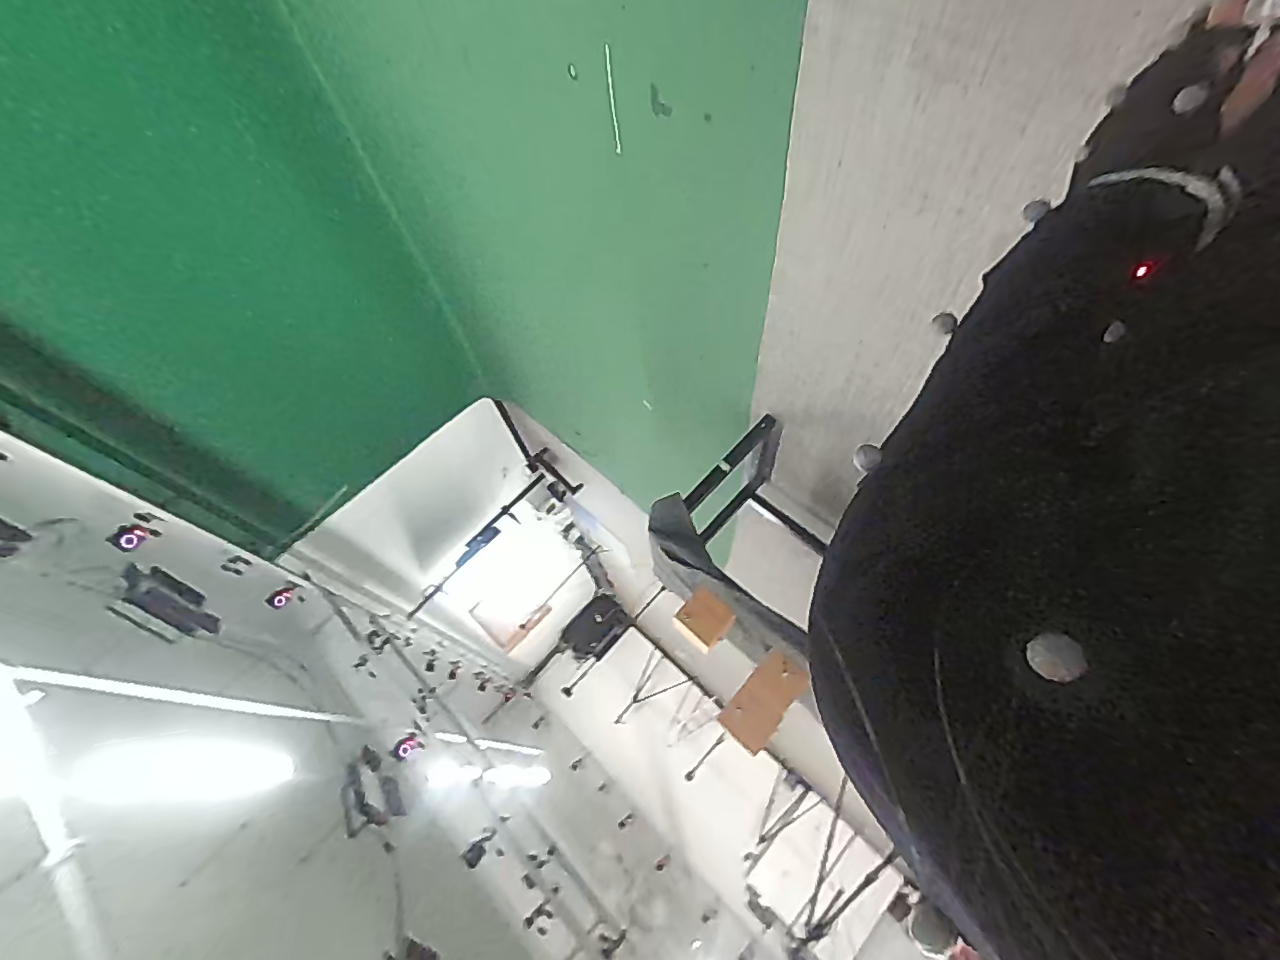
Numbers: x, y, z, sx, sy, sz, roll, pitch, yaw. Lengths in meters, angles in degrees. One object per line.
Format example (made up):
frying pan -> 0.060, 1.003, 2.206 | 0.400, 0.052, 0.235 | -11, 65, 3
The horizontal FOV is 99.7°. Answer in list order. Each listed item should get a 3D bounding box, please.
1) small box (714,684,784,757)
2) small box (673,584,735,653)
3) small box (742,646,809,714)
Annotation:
small box -> 0.383, 0.846, 1.916 | 0.179, 0.176, 0.168 | 37, 162, 24
small box -> 0.248, 0.534, 2.089 | 0.179, 0.176, 0.168 | 40, 162, 22
small box -> 0.490, 0.735, 1.967 | 0.168, 0.176, 0.179 | 38, 161, 23
